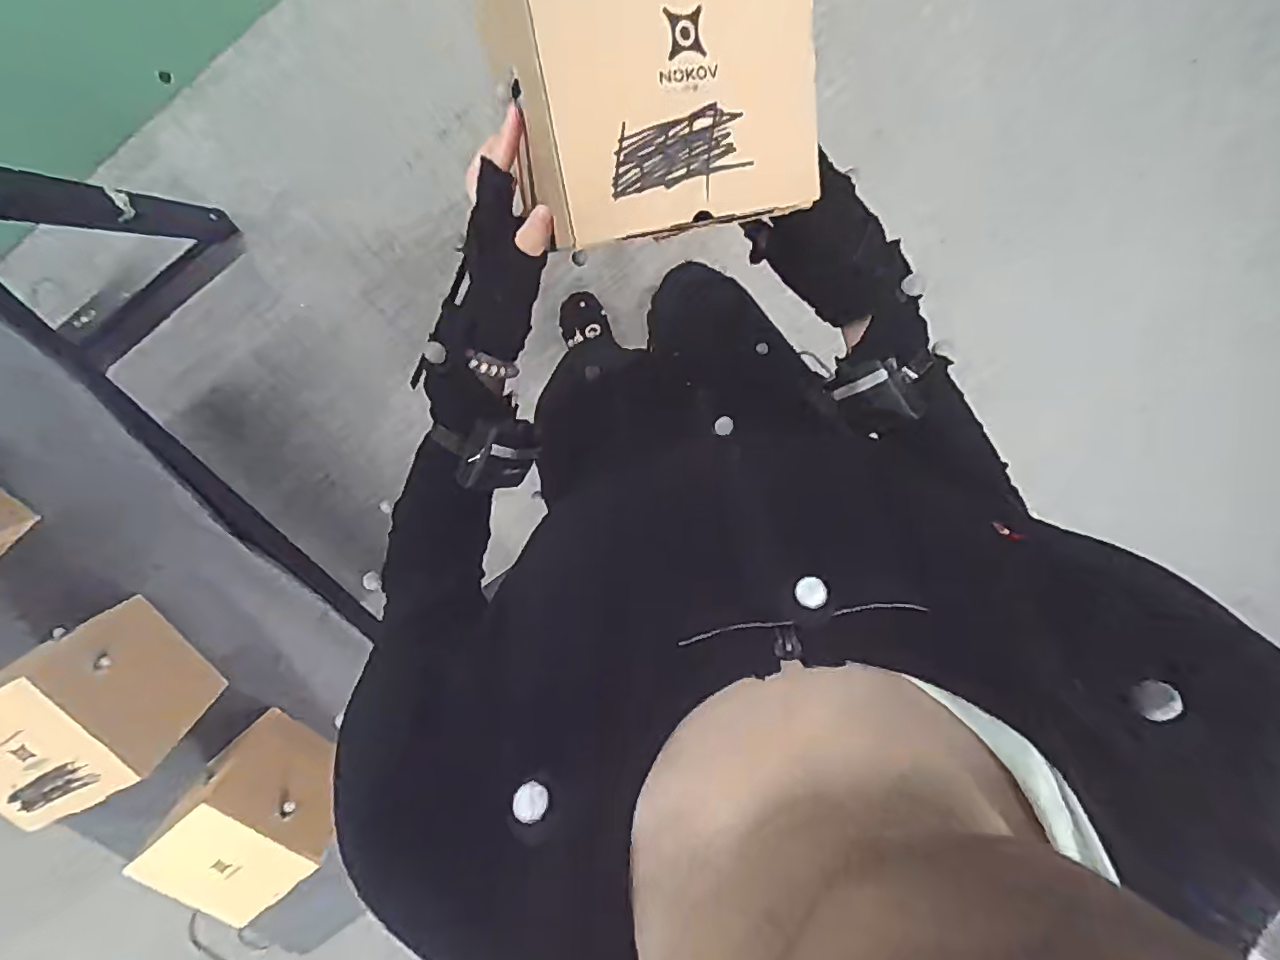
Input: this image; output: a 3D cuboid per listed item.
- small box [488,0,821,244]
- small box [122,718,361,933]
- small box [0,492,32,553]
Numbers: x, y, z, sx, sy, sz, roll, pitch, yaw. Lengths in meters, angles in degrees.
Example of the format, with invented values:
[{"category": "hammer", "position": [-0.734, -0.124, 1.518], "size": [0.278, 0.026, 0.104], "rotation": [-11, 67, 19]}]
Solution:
[{"category": "small box", "position": [0.002, -0.263, 0.366], "size": [0.168, 0.176, 0.179], "rotation": [-16, 114, -13]}, {"category": "small box", "position": [-0.544, 0.475, 0.768], "size": [0.168, 0.176, 0.179], "rotation": [-41, 109, 8]}, {"category": "small box", "position": [-0.854, 0.059, 0.578], "size": [0.168, 0.176, 0.179], "rotation": [-37, 110, 8]}]
